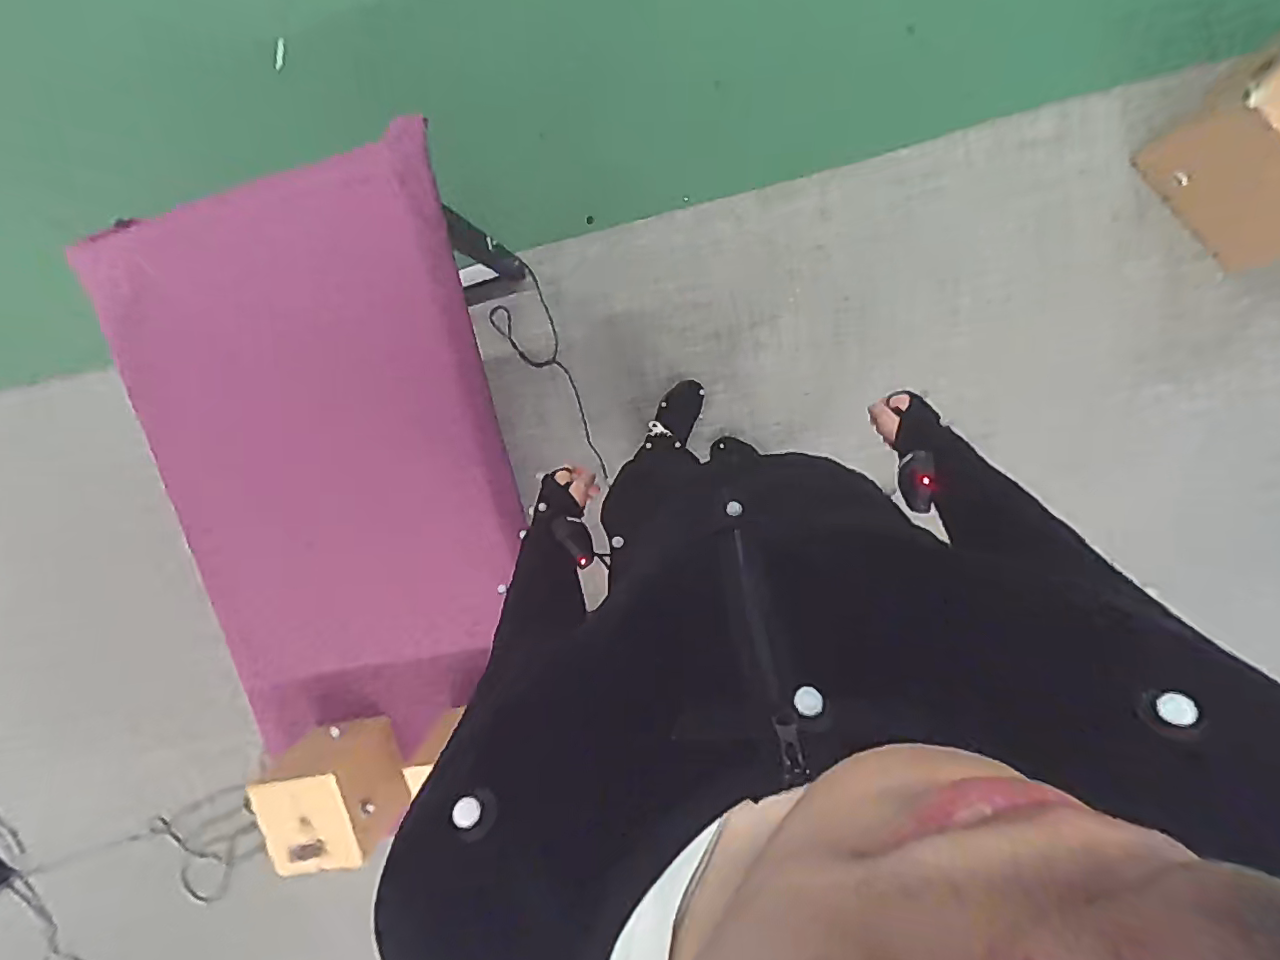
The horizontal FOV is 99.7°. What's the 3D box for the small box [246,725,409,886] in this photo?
[{"bbox_3d":[-0.546,0.577,0.973,0.168,0.176,0.179,-13,97,7],"label":"small box"}]
